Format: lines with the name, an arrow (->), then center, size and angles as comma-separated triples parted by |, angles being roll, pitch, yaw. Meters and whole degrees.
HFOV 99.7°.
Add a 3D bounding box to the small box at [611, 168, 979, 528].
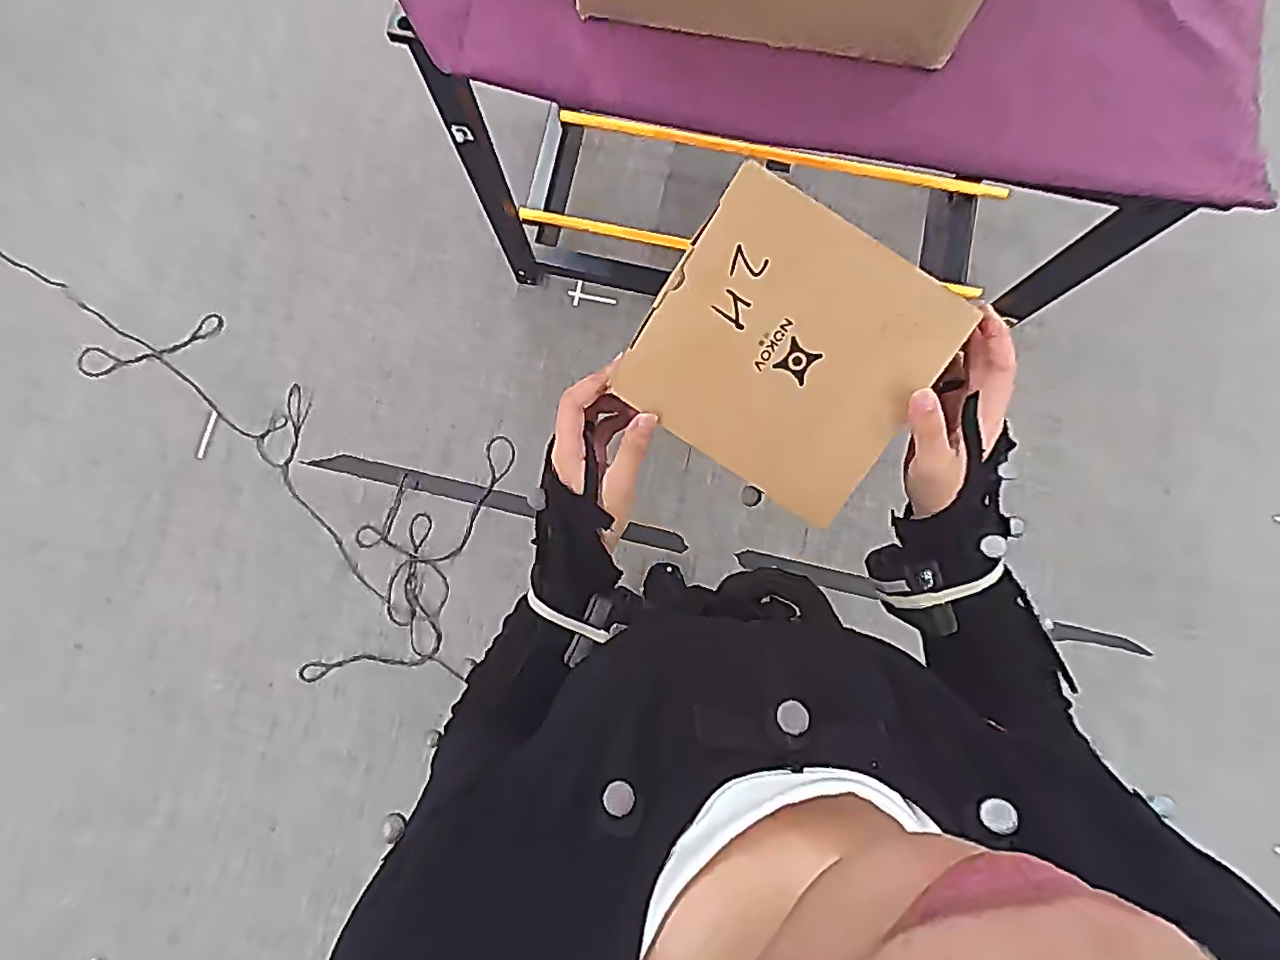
small box -> 0.102, -0.092, 0.423 | 0.179, 0.176, 0.168 | 33, 99, -1
